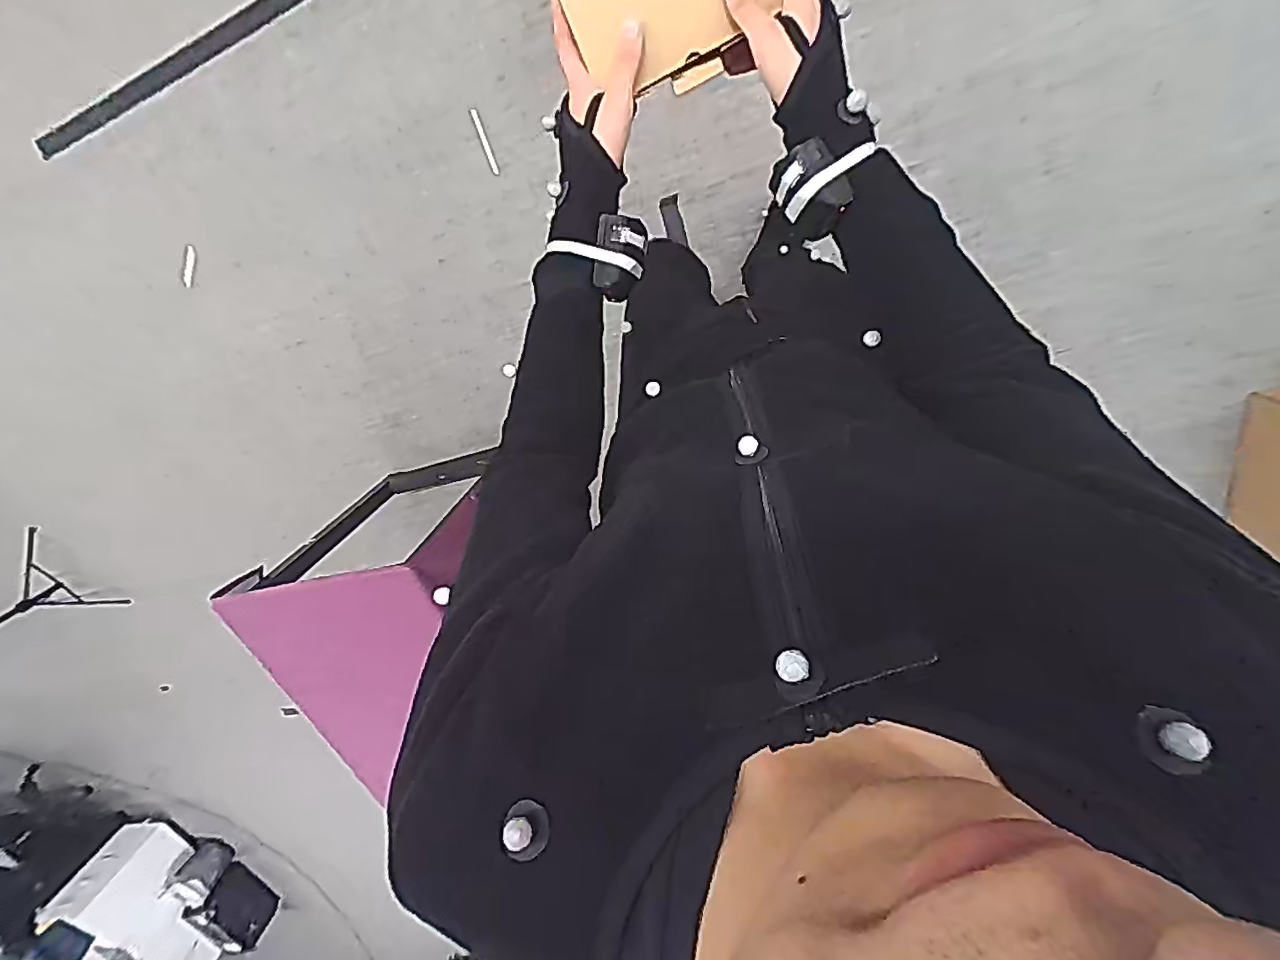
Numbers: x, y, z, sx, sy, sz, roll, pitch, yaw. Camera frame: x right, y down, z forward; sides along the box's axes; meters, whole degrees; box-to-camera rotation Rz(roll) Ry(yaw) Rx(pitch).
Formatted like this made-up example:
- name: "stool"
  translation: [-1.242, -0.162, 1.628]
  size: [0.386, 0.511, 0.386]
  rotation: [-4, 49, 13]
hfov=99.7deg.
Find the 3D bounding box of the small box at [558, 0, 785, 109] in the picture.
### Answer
- name: "small box"
  translation: [0.005, -0.450, 0.461]
  size: [0.168, 0.176, 0.179]
  rotation: [-22, 122, 10]
